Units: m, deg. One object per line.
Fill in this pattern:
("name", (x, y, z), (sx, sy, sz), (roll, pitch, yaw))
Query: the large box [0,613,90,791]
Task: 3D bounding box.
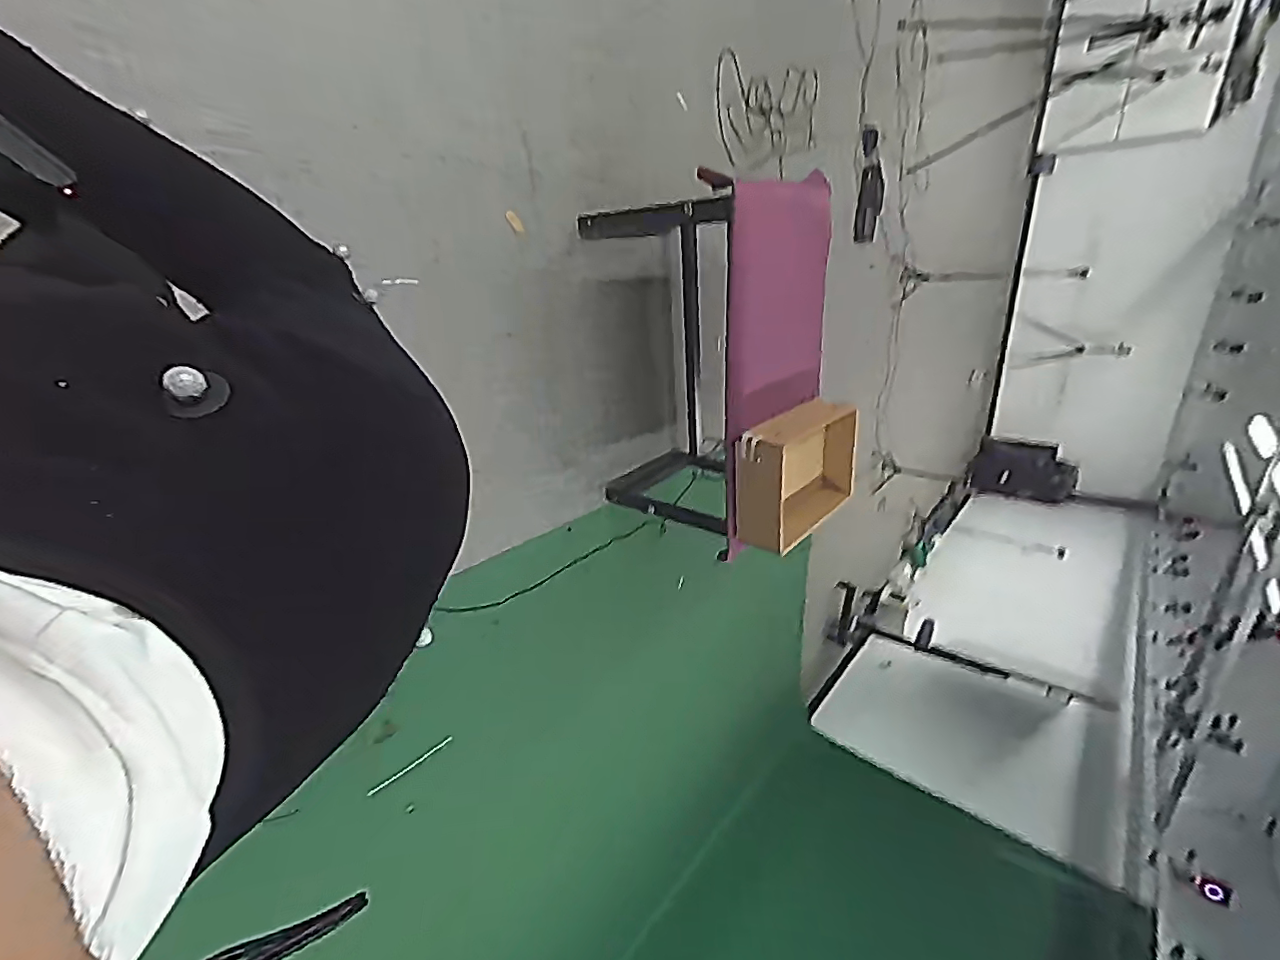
("large box", (-1.337, 0.389, 0.946), (0.320, 0.320, 0.408), (-55, 138, -21))
